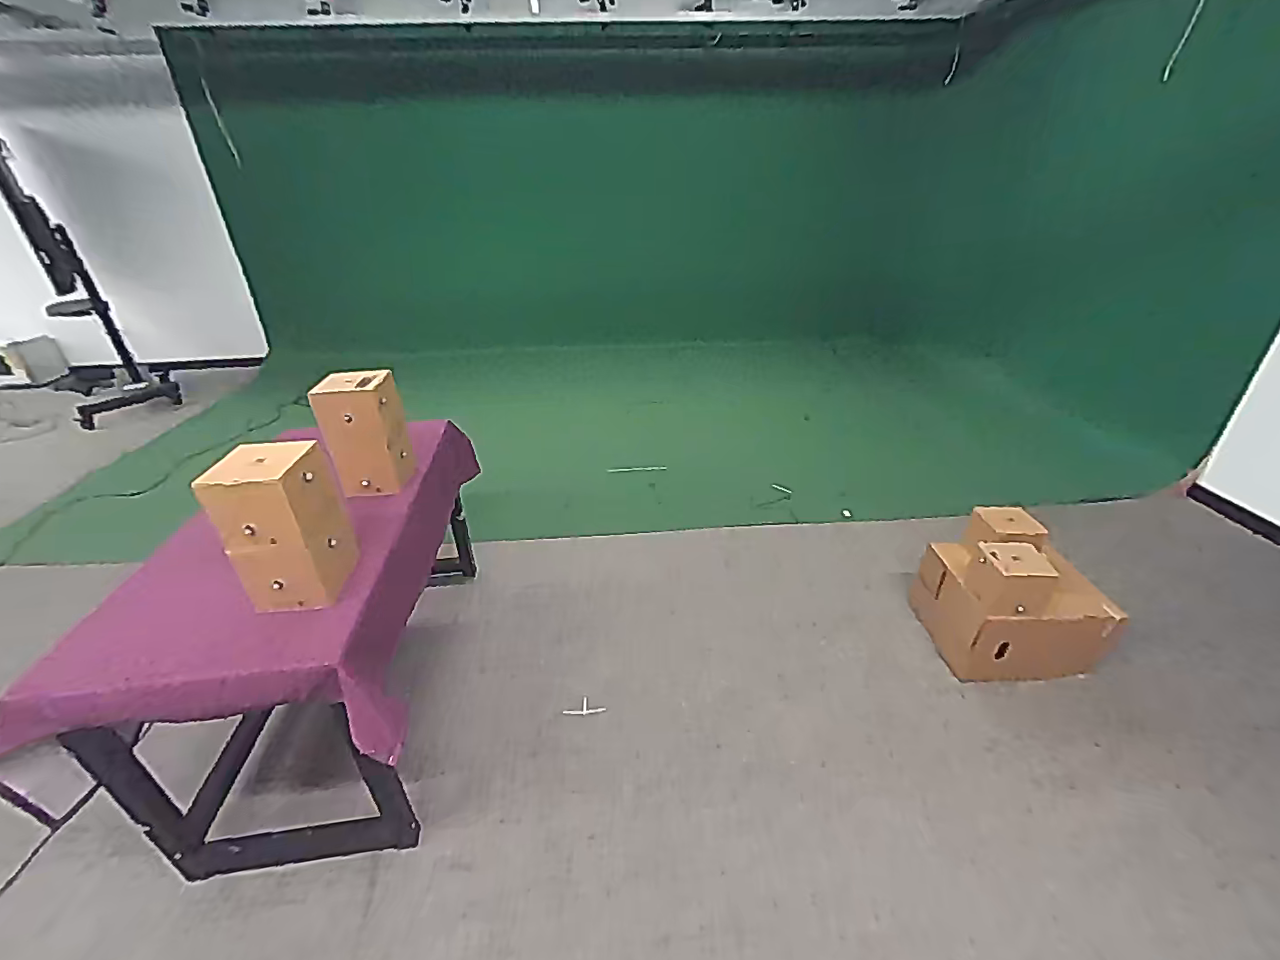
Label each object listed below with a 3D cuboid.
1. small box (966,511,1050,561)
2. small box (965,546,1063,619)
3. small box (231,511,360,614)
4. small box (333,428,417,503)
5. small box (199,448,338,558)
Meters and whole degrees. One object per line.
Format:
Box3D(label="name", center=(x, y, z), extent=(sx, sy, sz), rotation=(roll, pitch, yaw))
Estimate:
Box3D(label="small box", center=(1.294, 0.224, 1.922), extent=(0.179, 0.176, 0.168), rotation=(0, 29, -1))
Box3D(label="small box", center=(1.186, 0.329, 1.729), extent=(0.179, 0.176, 0.168), rotation=(1, 30, 2))
Box3D(label="small box", center=(-0.767, 0.191, 1.230), extent=(0.168, 0.176, 0.179), rotation=(-3, 29, -3))
Box3D(label="small box", center=(-0.800, -0.045, 1.653), extent=(0.168, 0.176, 0.179), rotation=(-4, 30, -3))
Box3D(label="small box", center=(-0.773, 0.046, 1.153), extent=(0.168, 0.176, 0.179), rotation=(-4, 30, -3))
